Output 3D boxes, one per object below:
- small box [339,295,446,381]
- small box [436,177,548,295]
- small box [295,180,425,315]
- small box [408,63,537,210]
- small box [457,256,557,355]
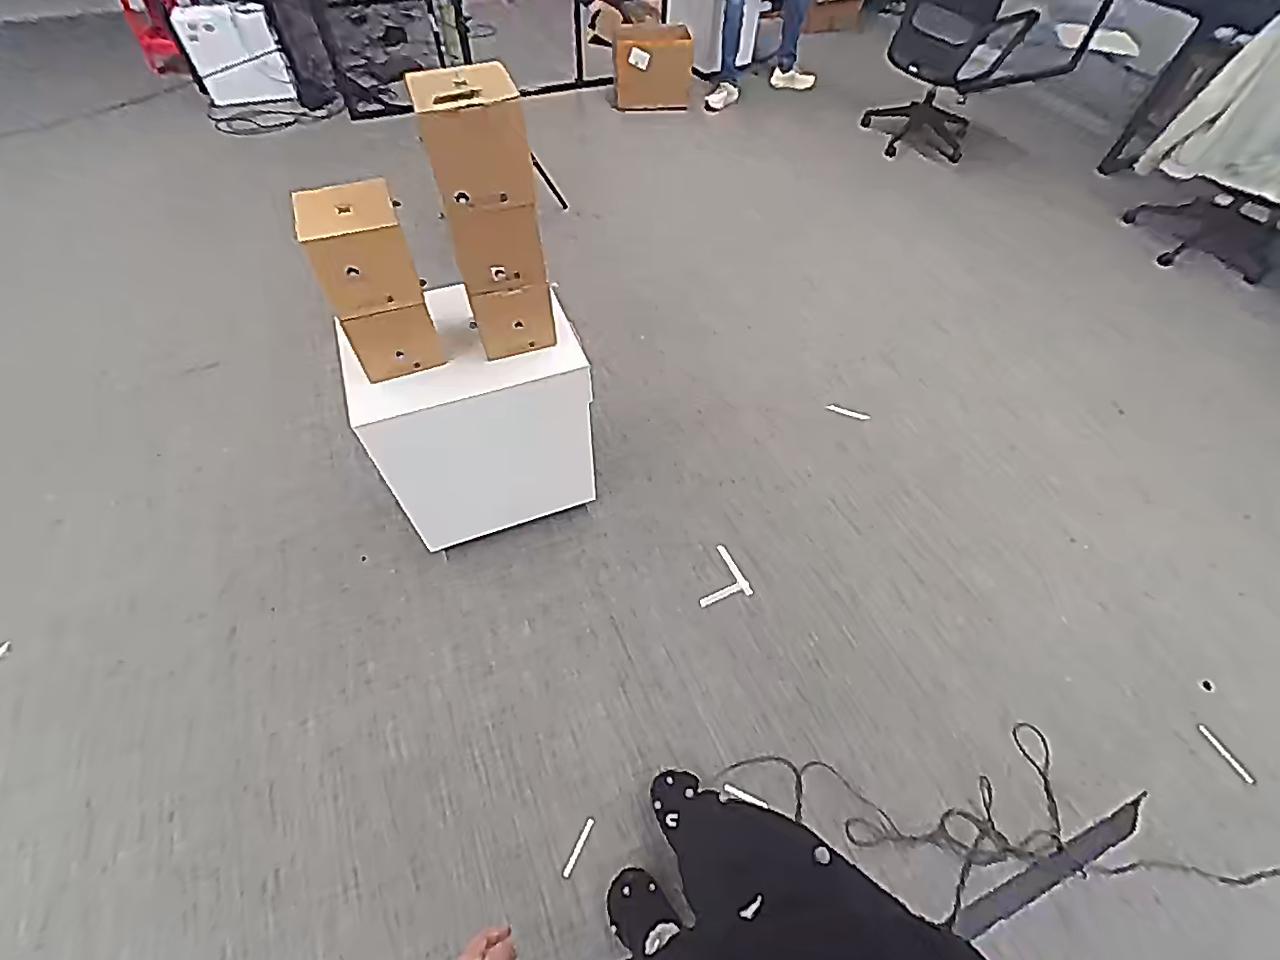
[{"bbox_3d":[-0.538,-0.345,1.168,0.168,0.176,0.179,-20,58,-15],"label":"small box"},{"bbox_3d":[-0.294,-0.504,1.089,0.168,0.176,0.179,-18,58,-12],"label":"small box"},{"bbox_3d":[-0.529,-0.437,1.035,0.168,0.176,0.179,-19,57,-15],"label":"small box"},{"bbox_3d":[-0.290,-0.597,0.953,0.168,0.176,0.179,-16,55,-11],"label":"small box"},{"bbox_3d":[-0.294,-0.404,1.219,0.168,0.176,0.179,-18,59,-12],"label":"small box"}]
